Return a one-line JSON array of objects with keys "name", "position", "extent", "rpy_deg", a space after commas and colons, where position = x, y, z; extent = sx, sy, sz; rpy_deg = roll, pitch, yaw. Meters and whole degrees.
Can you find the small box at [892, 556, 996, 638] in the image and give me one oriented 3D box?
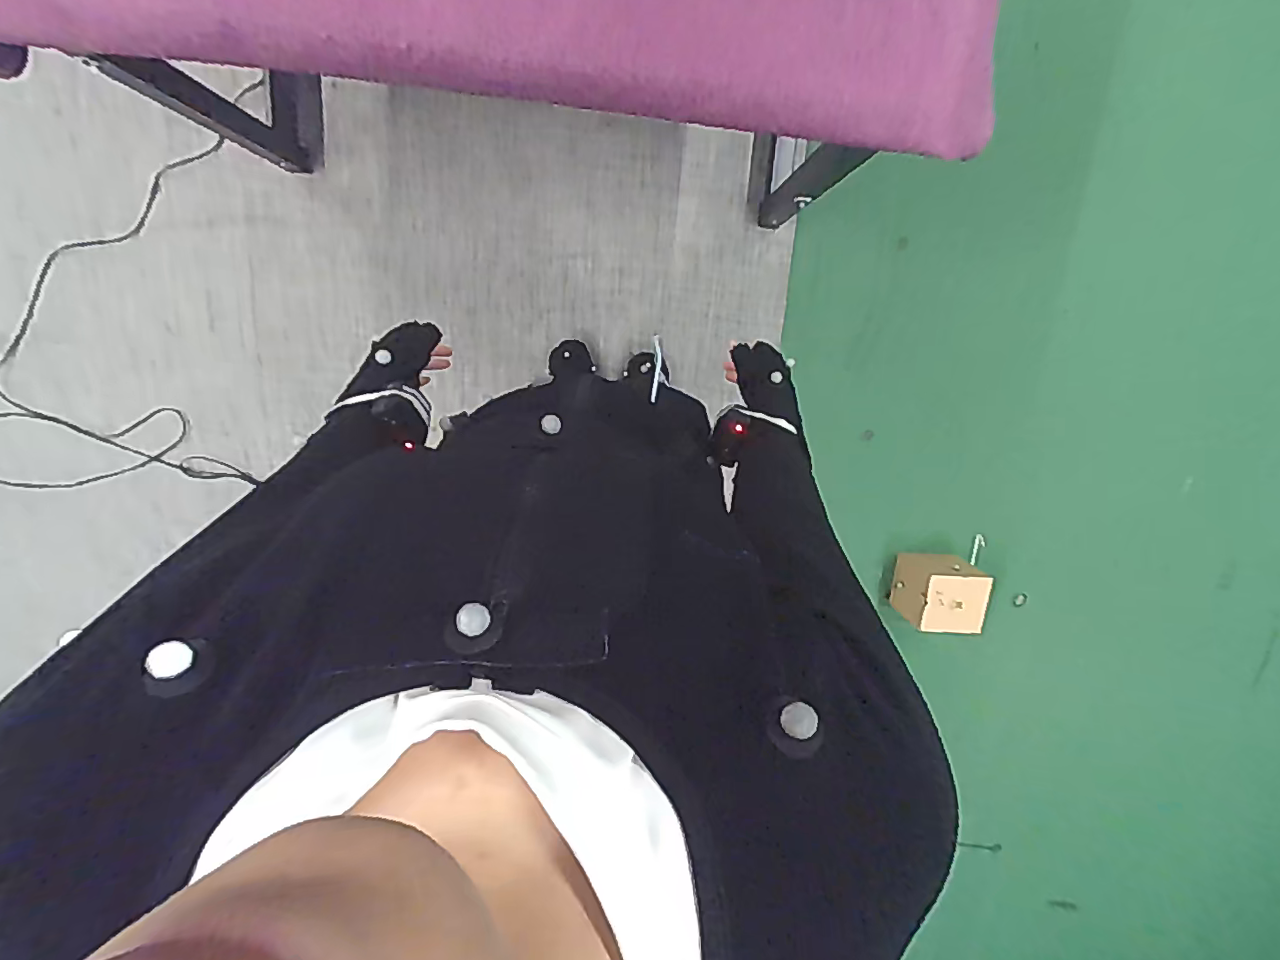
[{"name": "small box", "position": [0.840, 0.322, 1.511], "extent": [0.179, 0.176, 0.168], "rpy_deg": [4, 104, -3]}]
